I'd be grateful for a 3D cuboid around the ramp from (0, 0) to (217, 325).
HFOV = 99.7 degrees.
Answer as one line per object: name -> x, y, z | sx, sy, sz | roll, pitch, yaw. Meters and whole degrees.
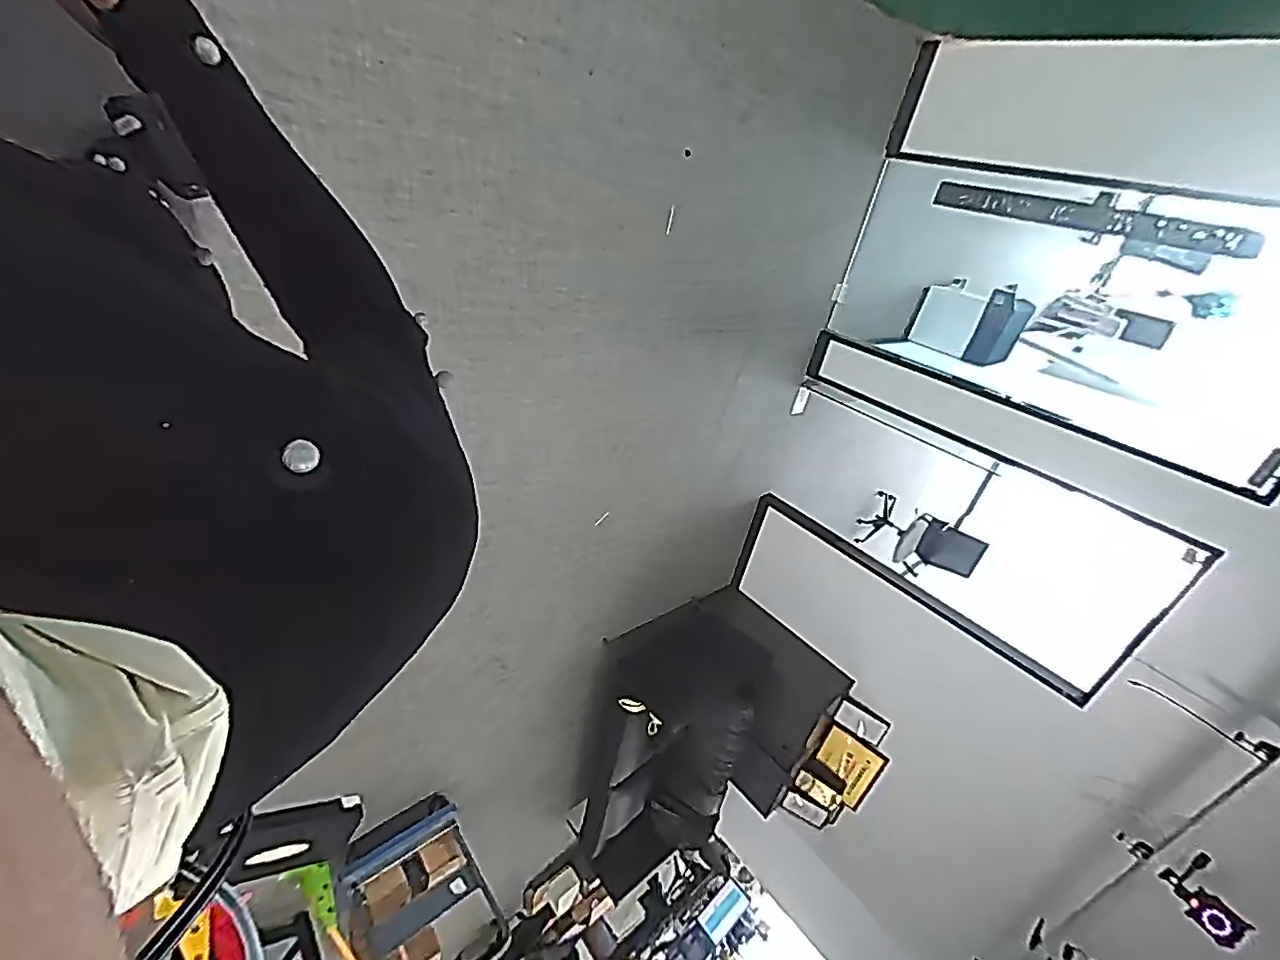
ramp -> -1.079, -0.719, 0.891 | 0.509, 0.206, 0.991 | -18, 132, -39
